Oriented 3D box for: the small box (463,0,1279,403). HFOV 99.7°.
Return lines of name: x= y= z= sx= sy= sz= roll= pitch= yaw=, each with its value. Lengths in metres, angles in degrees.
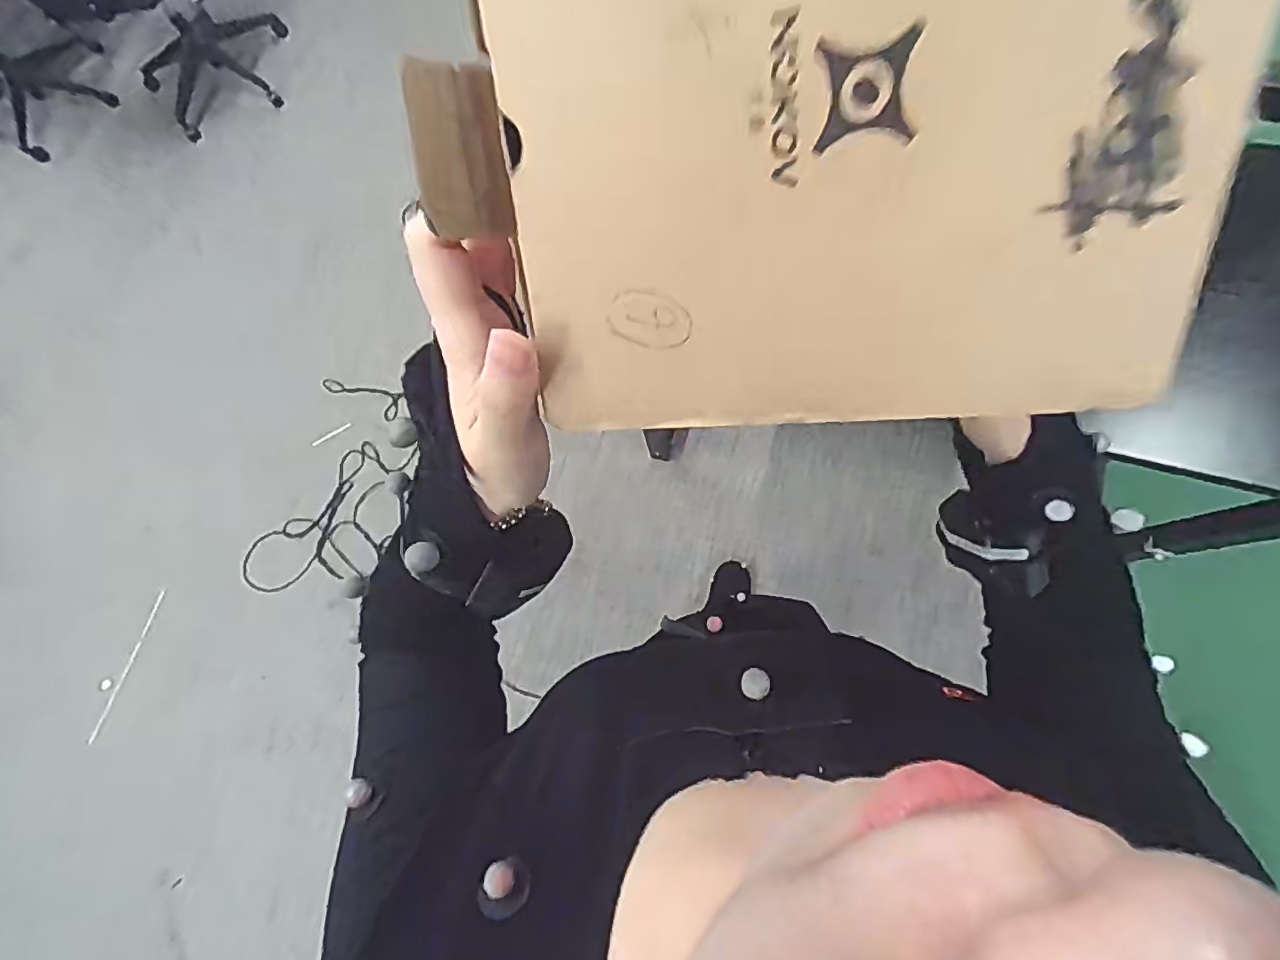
small box: x=0.060 y=-0.129 z=0.185 sx=0.179 sy=0.176 sz=0.168 roll=0 pitch=115 yaw=13
